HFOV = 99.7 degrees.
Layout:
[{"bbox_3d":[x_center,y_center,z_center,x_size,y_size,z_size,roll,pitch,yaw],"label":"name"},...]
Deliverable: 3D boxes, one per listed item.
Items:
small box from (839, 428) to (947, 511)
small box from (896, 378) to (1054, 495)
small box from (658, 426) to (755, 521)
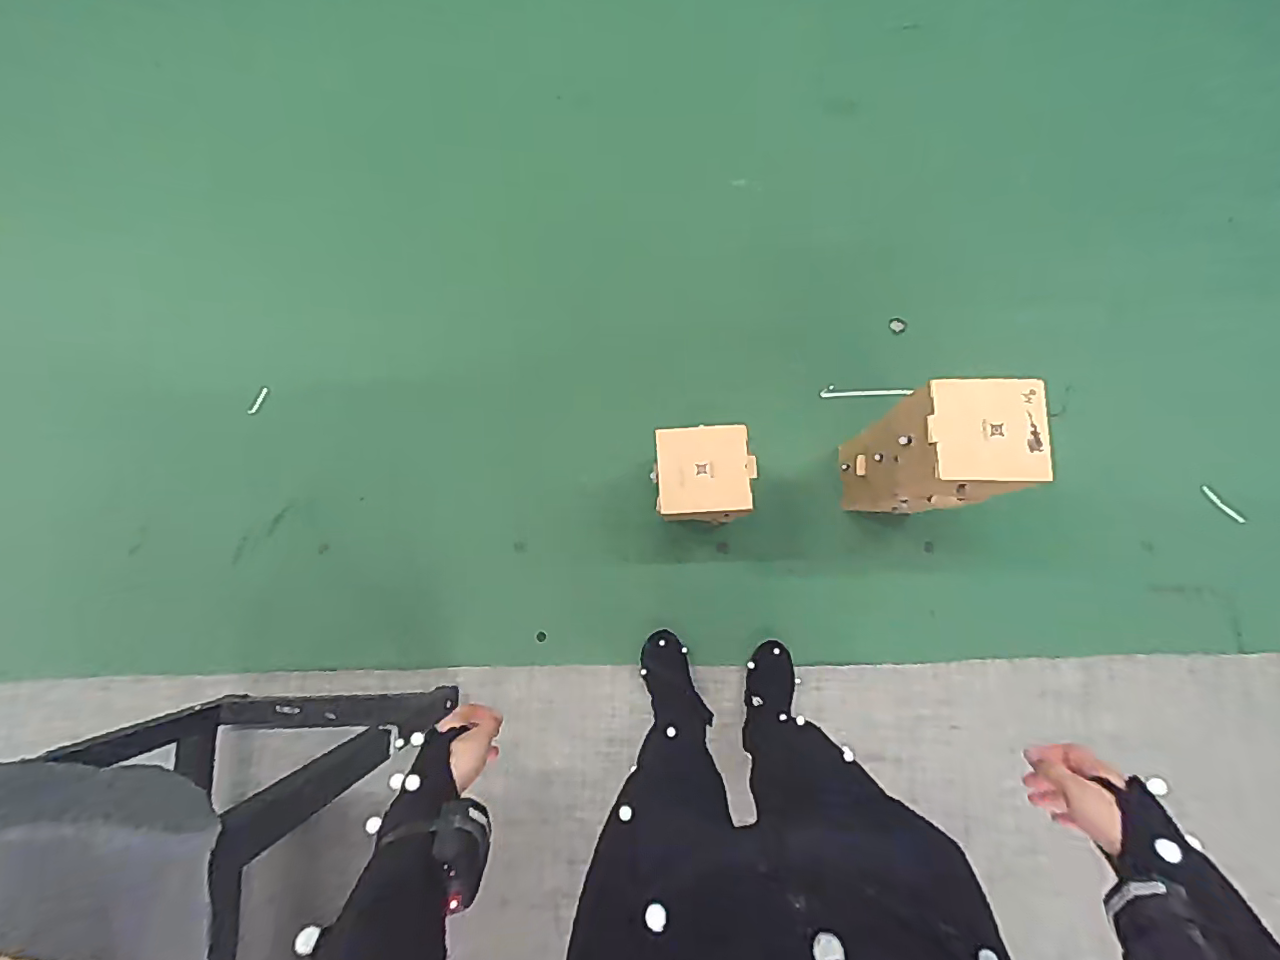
[{"bbox_3d":[0.575,-0.019,1.242,0.179,0.176,0.168,3,83,2],"label":"small box"},{"bbox_3d":[0.551,-0.067,0.918,0.179,0.176,0.168,1,81,3],"label":"small box"},{"bbox_3d":[0.126,-0.008,1.094,0.179,0.176,0.168,-4,81,3],"label":"small box"}]
